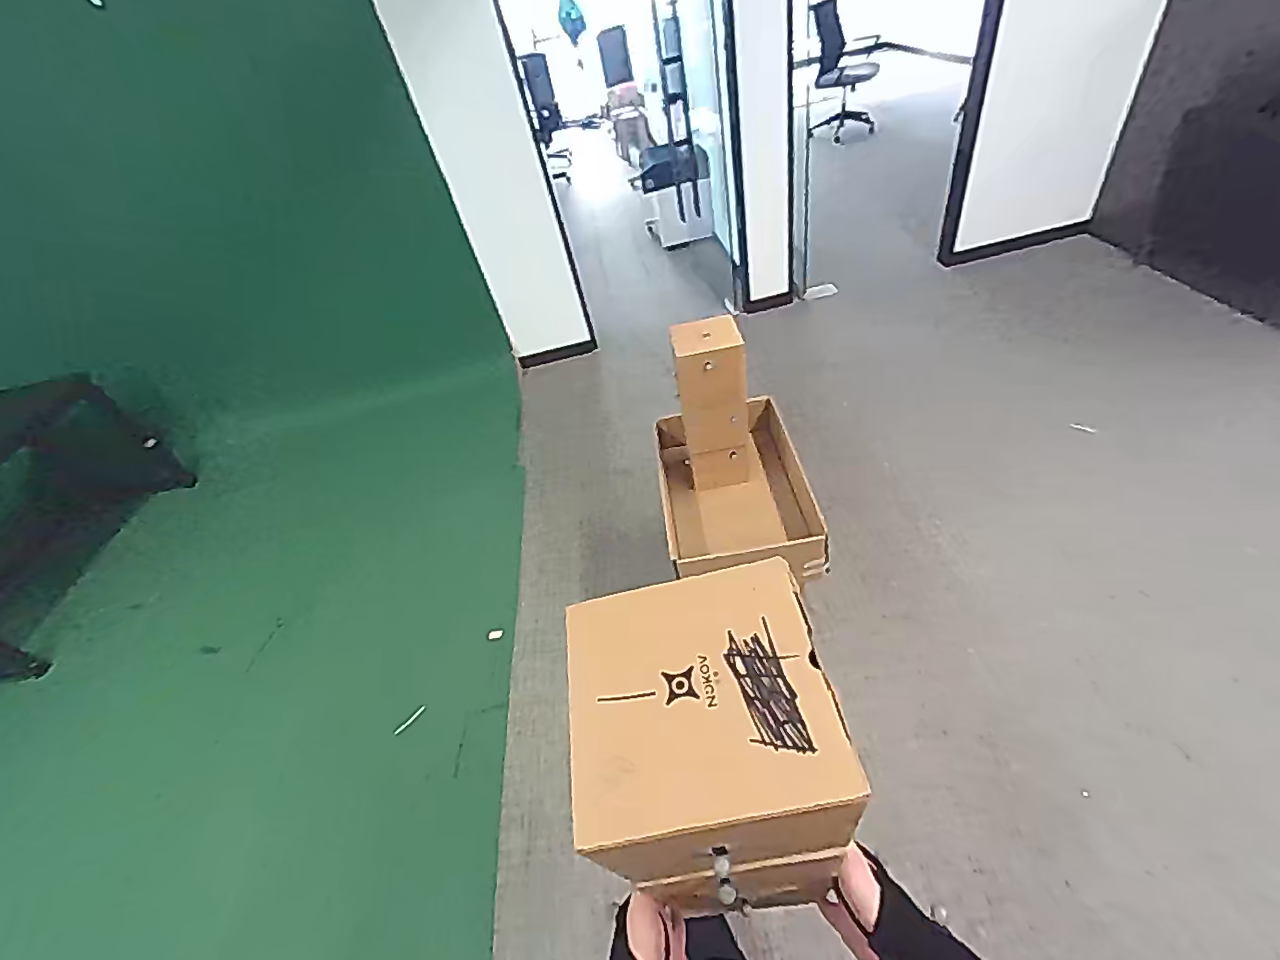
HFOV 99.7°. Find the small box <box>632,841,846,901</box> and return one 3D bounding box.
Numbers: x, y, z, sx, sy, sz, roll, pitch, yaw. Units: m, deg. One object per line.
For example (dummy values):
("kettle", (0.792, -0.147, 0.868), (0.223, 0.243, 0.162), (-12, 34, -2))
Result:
("small box", (0.090, 0.301, 0.537), (0.179, 0.176, 0.168), (-12, 47, 6))

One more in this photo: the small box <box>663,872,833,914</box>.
("small box", (0.122, 0.410, 0.654), (0.179, 0.176, 0.168), (-10, 46, 6))

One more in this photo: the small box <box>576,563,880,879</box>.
("small box", (0.058, 0.190, 0.419), (0.179, 0.176, 0.168), (-13, 47, 5))

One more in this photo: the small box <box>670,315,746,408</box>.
("small box", (0.184, -0.317, 1.458), (0.179, 0.176, 0.168), (-11, 44, 3))
